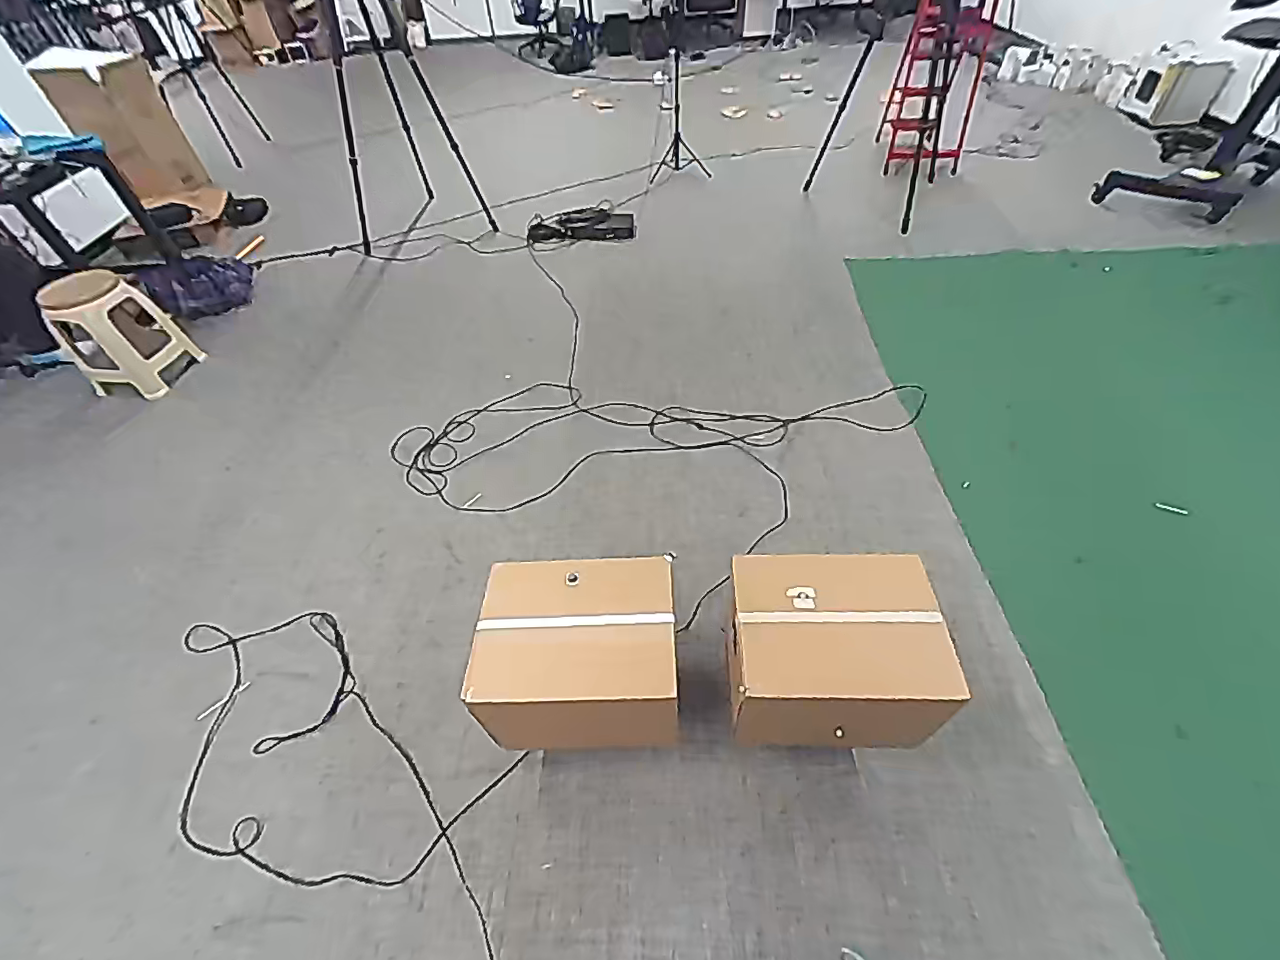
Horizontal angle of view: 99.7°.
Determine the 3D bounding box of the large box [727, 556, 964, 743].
[{"bbox_3d":[0.412,0.385,1.208,0.408,0.320,0.320,-1,48,5],"label":"large box"}]
